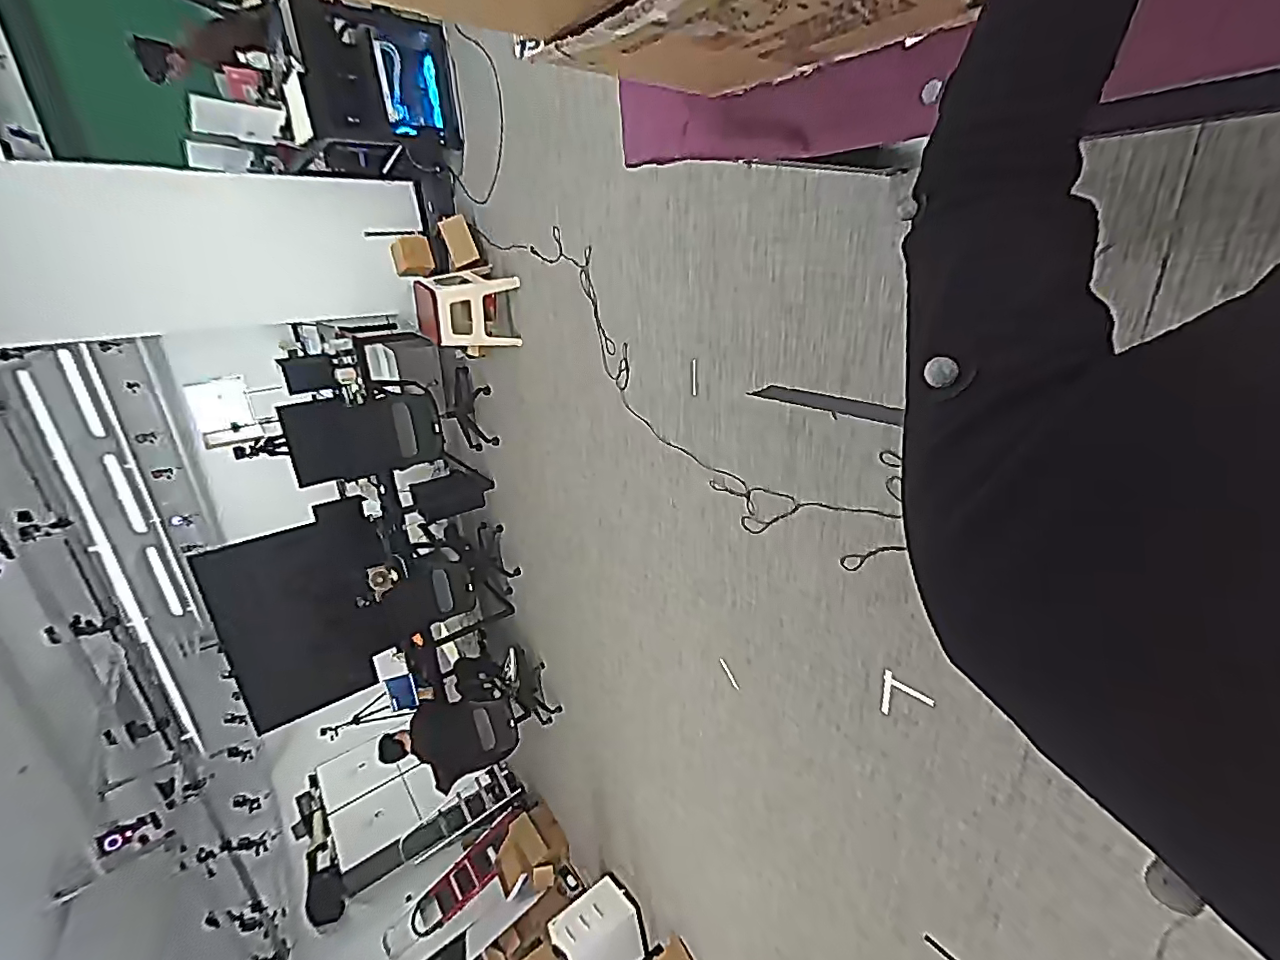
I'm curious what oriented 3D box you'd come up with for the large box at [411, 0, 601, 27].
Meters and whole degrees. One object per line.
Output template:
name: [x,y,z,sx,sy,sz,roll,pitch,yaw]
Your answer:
large box: [-0.128,-0.584,0.312,0.320,0.320,0.408,25,125,49]
